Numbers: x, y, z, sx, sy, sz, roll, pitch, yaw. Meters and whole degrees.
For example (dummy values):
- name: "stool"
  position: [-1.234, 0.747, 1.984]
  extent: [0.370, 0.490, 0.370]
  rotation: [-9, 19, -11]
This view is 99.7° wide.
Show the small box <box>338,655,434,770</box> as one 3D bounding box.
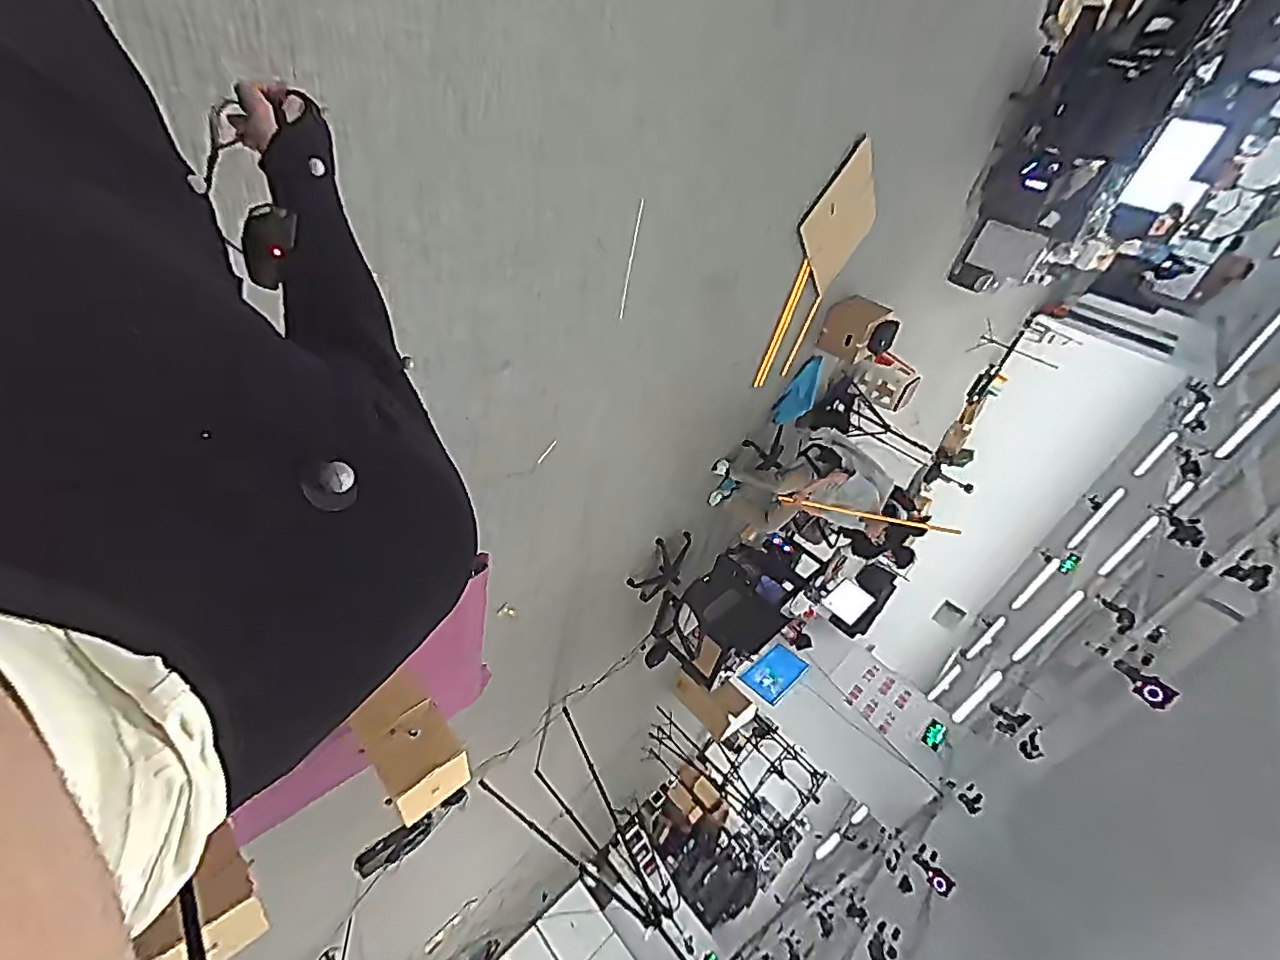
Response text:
- name: "small box"
  position: [-0.632, 0.578, 1.360]
  extent: [0.168, 0.176, 0.179]
  rotation: [-26, 141, -37]

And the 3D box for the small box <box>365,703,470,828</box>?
- name: "small box"
  position: [-0.524, 0.669, 1.280]
  extent: [0.168, 0.176, 0.179]
  rotation: [-27, 141, -35]

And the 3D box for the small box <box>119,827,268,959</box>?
- name: "small box"
  position: [-0.822, 0.792, 1.001]
  extent: [0.168, 0.176, 0.179]
  rotation: [-21, 137, -42]
